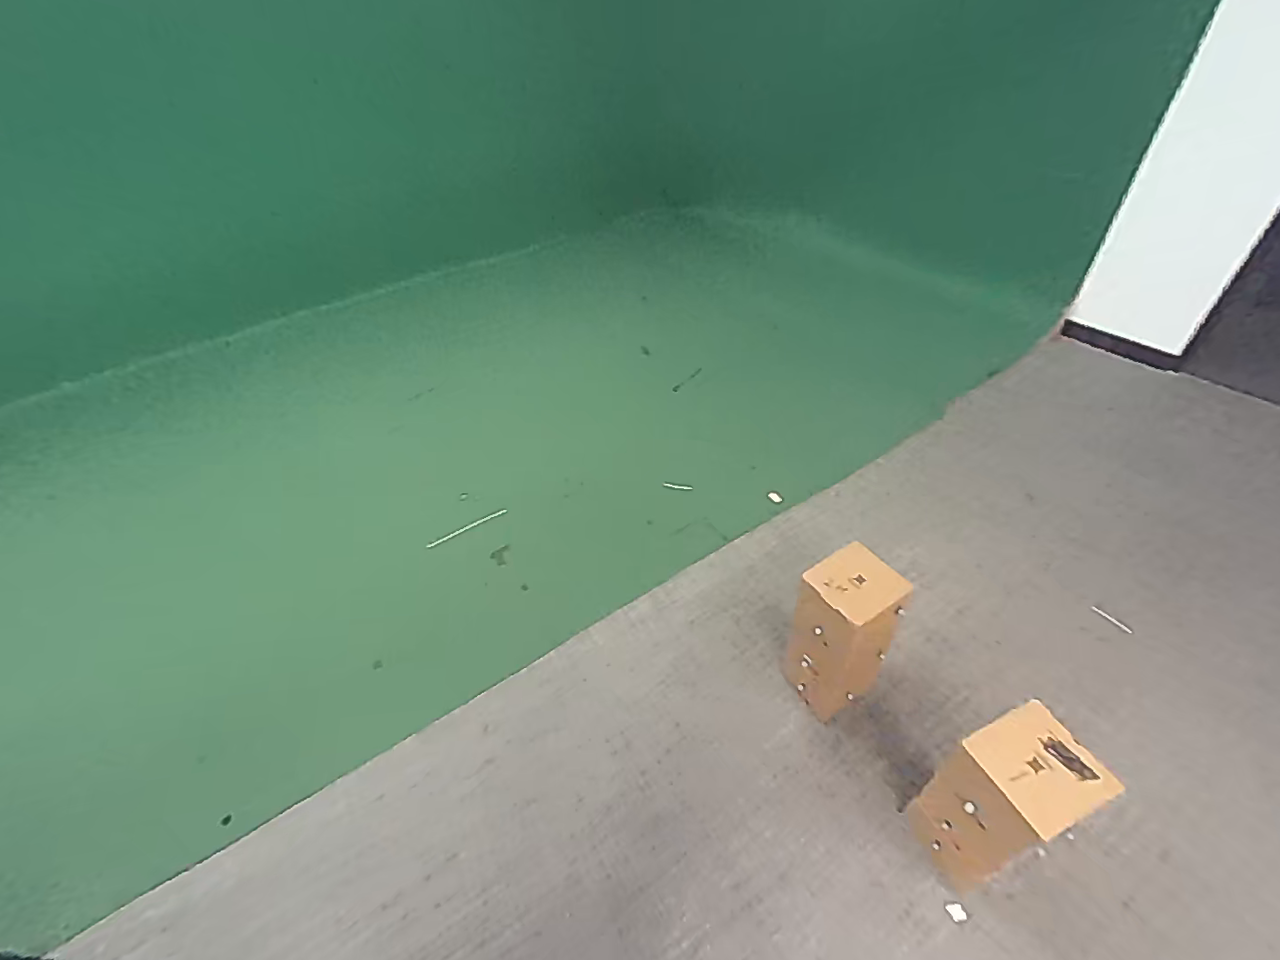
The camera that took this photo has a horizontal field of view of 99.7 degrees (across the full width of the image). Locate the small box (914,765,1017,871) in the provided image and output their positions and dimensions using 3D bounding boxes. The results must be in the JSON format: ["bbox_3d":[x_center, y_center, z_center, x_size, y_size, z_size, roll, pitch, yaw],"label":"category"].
[{"bbox_3d":[0.685,0.638,1.077,0.179,0.176,0.168,-22,47,-13],"label":"small box"}]

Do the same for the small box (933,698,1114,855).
[{"bbox_3d":[0.662,0.526,0.959,0.179,0.176,0.168,-22,47,-11],"label":"small box"}]

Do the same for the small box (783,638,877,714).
[{"bbox_3d":[0.506,0.500,1.469,0.179,0.176,0.168,-25,47,-16],"label":"small box"}]

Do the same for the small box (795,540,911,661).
[{"bbox_3d":[0.474,0.275,1.234,0.179,0.176,0.168,-26,46,-18],"label":"small box"}]

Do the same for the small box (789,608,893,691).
[{"bbox_3d":[0.491,0.388,1.352,0.179,0.176,0.168,-28,47,-18],"label":"small box"}]
